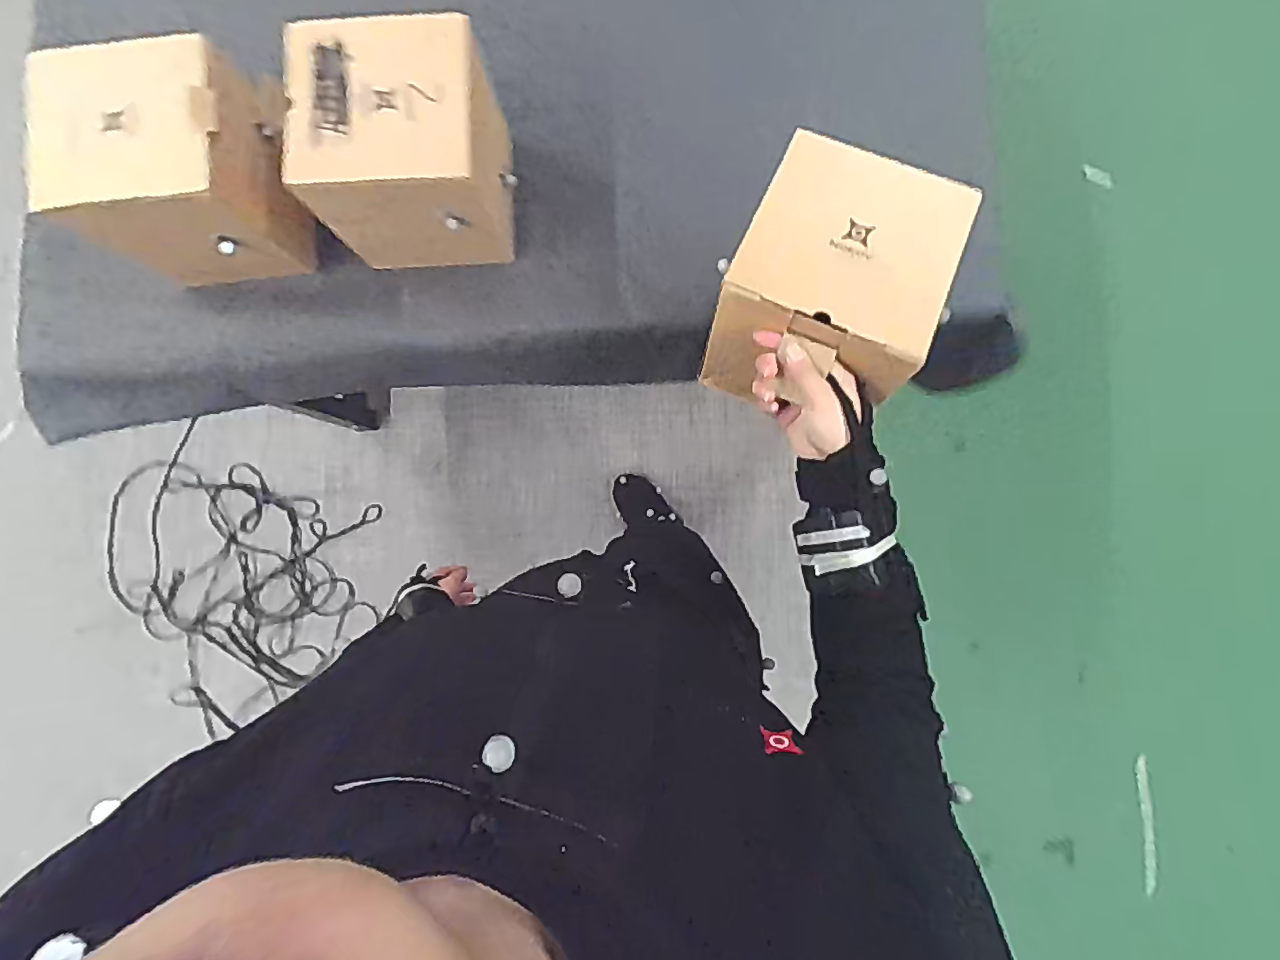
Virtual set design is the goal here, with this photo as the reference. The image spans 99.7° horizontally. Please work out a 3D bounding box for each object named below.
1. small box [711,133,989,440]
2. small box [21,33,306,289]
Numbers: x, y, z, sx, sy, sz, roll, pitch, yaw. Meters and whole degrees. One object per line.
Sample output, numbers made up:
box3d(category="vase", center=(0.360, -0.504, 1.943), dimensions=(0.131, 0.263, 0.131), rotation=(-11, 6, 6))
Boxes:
box3d(category="small box", center=(0.178, -0.167, 0.508), dimensions=(0.168, 0.176, 0.179), rotation=(25, 74, 6))
box3d(category="small box", center=(-0.494, -0.329, 0.589), dimensions=(0.179, 0.176, 0.168), rotation=(-7, 84, 1))
